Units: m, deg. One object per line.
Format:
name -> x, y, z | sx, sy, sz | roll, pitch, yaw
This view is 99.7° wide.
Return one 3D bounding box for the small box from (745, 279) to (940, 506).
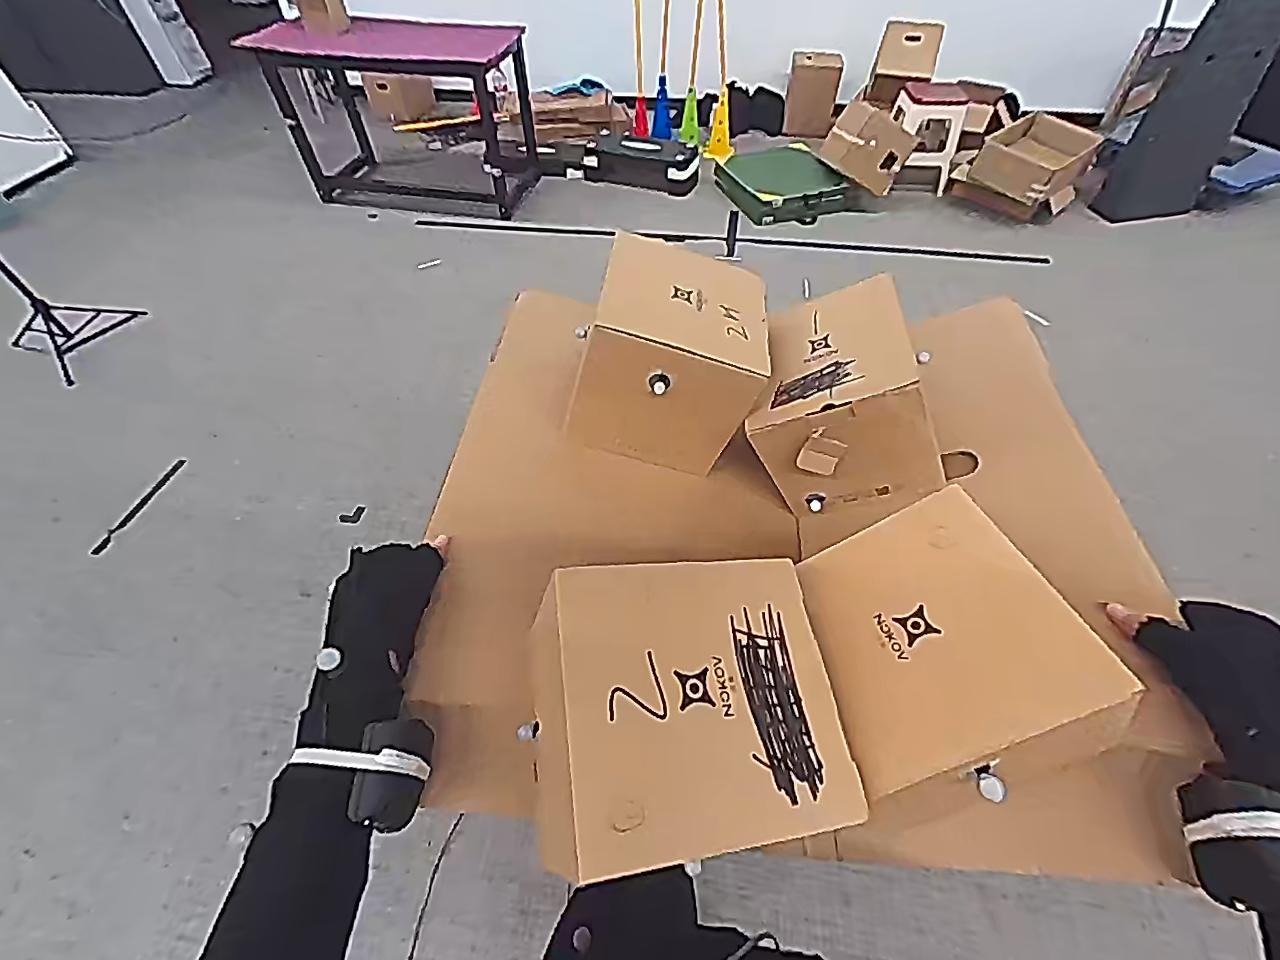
small box -> 0.230, -0.086, 0.621 | 0.168, 0.176, 0.179 | -15, 47, 28
